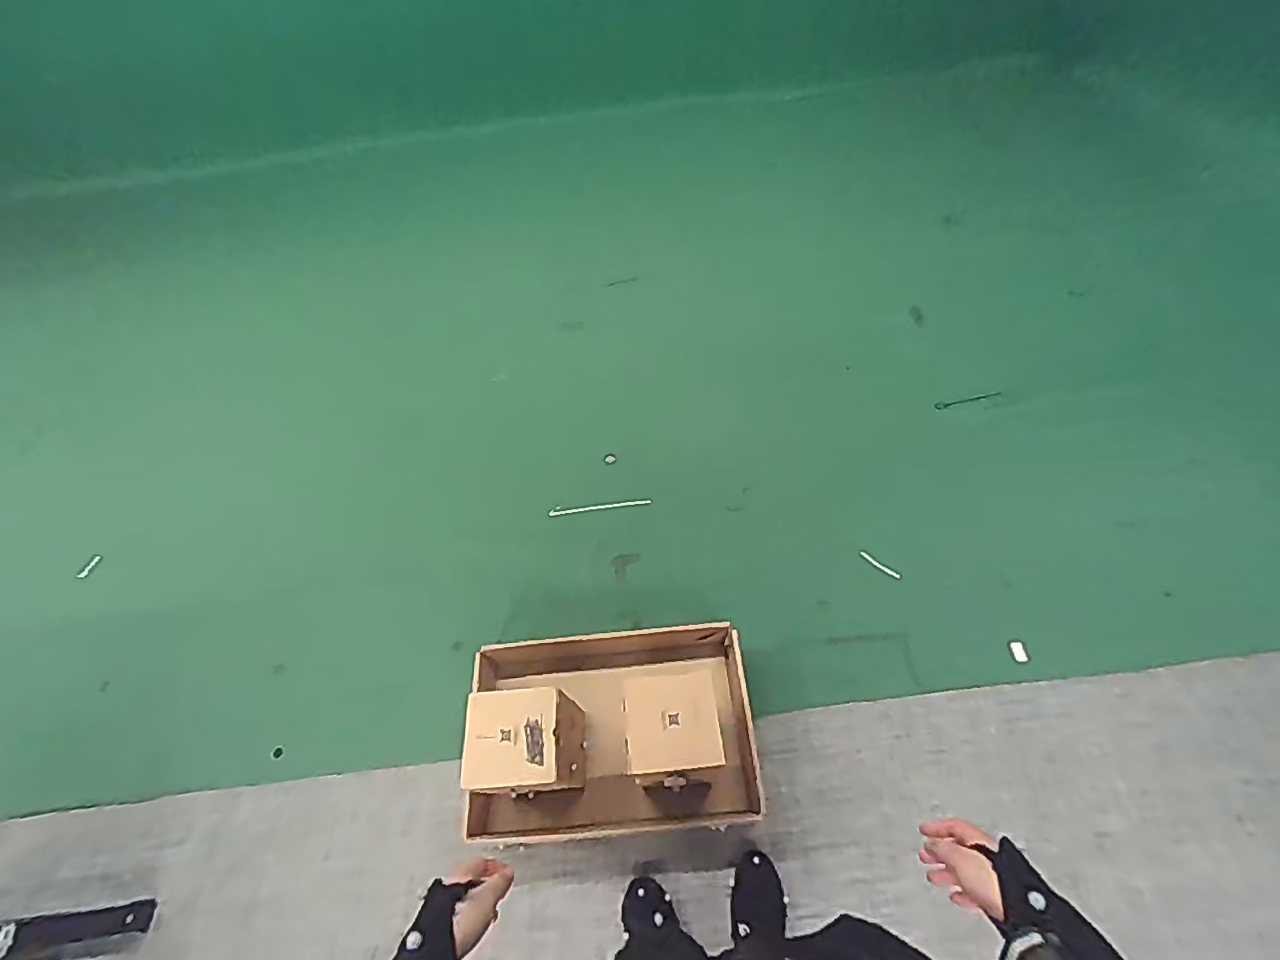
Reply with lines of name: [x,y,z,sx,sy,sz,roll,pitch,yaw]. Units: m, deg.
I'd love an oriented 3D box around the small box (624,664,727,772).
small box: [0.068,0.470,1.058,0.179,0.176,0.168,-7,60,1]

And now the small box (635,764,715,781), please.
small box: [0.076,0.561,1.194,0.168,0.176,0.179,-5,60,3]

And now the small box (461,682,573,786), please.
small box: [-0.229,0.501,1.059,0.179,0.176,0.168,-5,58,2]
